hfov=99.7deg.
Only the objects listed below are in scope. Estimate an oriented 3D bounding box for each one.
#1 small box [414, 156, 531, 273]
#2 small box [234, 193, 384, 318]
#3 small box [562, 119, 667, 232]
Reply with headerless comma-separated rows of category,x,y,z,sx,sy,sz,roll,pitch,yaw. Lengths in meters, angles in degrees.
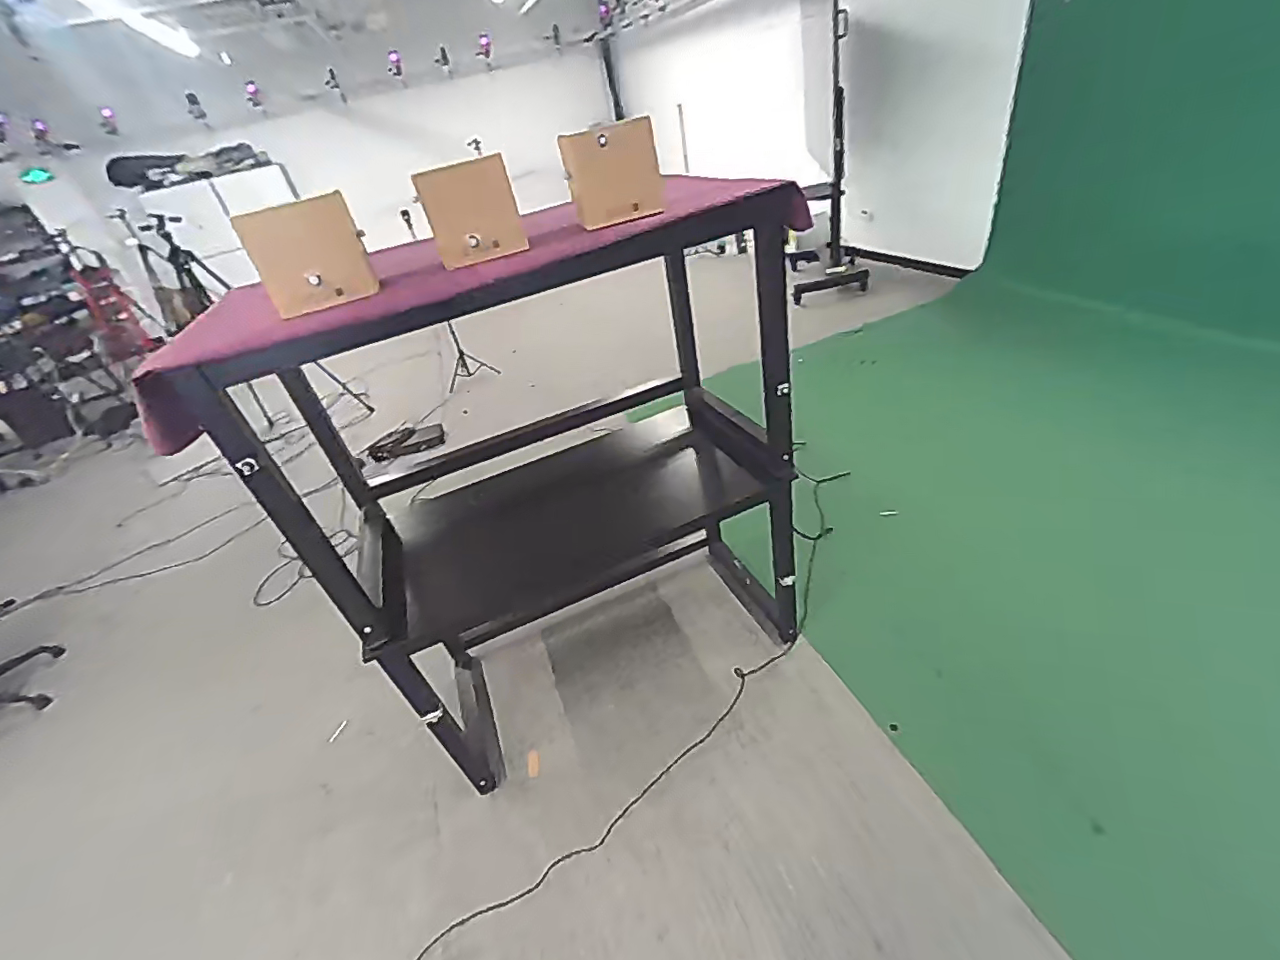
small box,-0.325,-0.518,1.056,0.168,0.176,0.179,-20,35,-9
small box,-0.582,-0.407,0.978,0.168,0.176,0.179,-22,35,-13
small box,-0.054,-0.620,1.111,0.168,0.176,0.179,-17,33,-4
